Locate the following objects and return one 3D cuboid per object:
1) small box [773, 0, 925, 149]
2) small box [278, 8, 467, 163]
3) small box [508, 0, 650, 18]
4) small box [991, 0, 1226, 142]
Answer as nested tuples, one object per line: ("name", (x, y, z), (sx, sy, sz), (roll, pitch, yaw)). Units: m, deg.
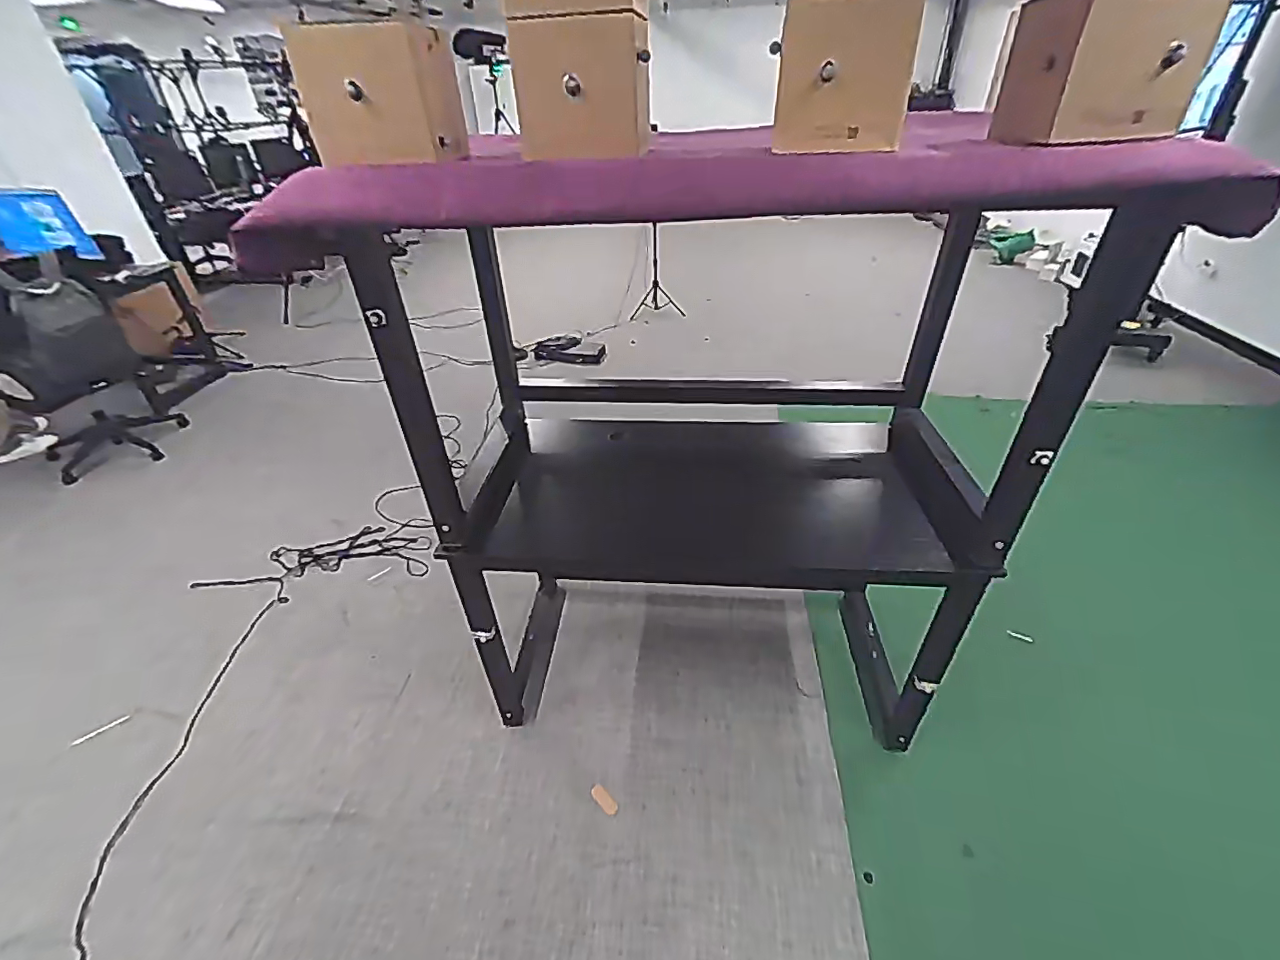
("small box", (0.281, -0.568, 0.762), (0.168, 0.176, 0.179), (5, 35, 10))
("small box", (-0.373, -0.578, 0.799), (0.179, 0.176, 0.168), (0, 36, 3))
("small box", (-0.080, -0.724, 0.711), (0.179, 0.176, 0.168), (3, 36, 8))
("small box", (0.623, -0.565, 0.737), (0.168, 0.176, 0.179), (1, 34, 4))
